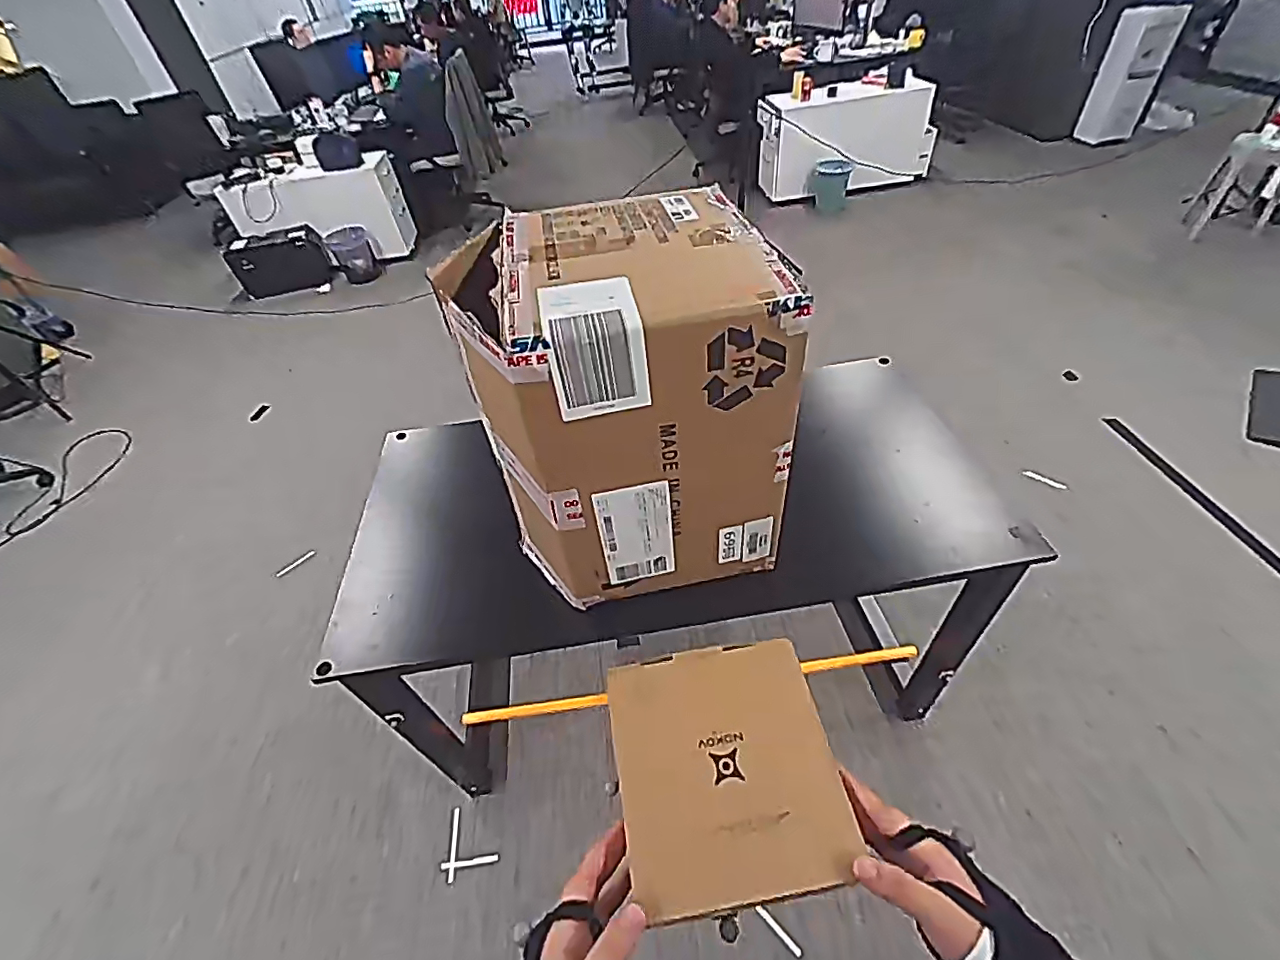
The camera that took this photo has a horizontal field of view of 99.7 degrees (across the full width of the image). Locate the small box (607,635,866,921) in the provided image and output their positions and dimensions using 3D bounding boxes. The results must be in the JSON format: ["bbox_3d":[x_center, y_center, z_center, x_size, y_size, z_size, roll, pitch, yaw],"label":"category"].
[{"bbox_3d":[0.064,0.263,0.477,0.168,0.176,0.179,-8,50,-4],"label":"small box"}]
